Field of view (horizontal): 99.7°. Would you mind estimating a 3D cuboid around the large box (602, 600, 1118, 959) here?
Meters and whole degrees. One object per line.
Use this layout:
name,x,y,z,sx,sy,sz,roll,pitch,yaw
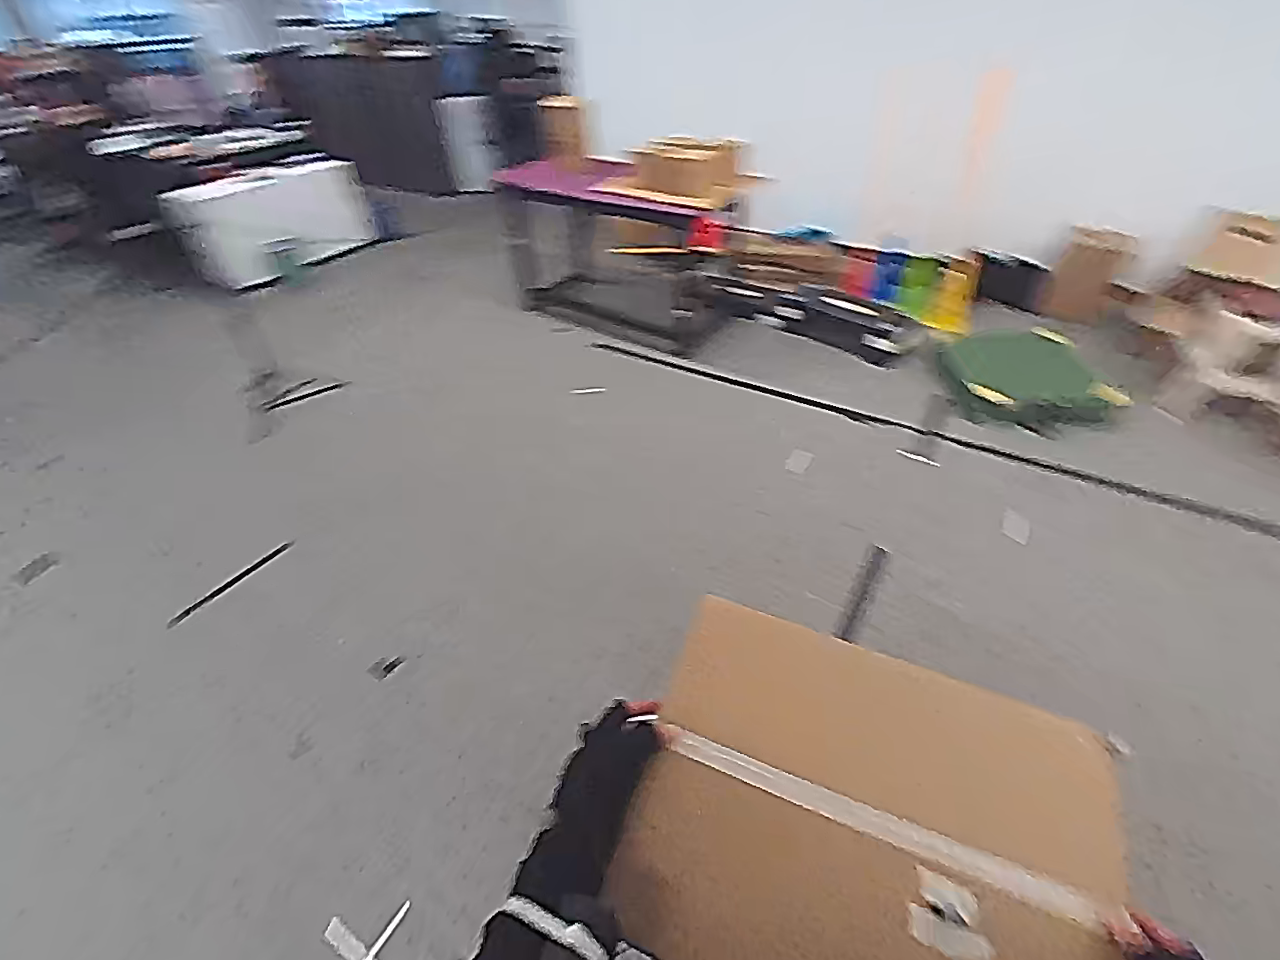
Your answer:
large box,0.206,0.392,0.609,0.408,0.320,0.320,17,55,15
